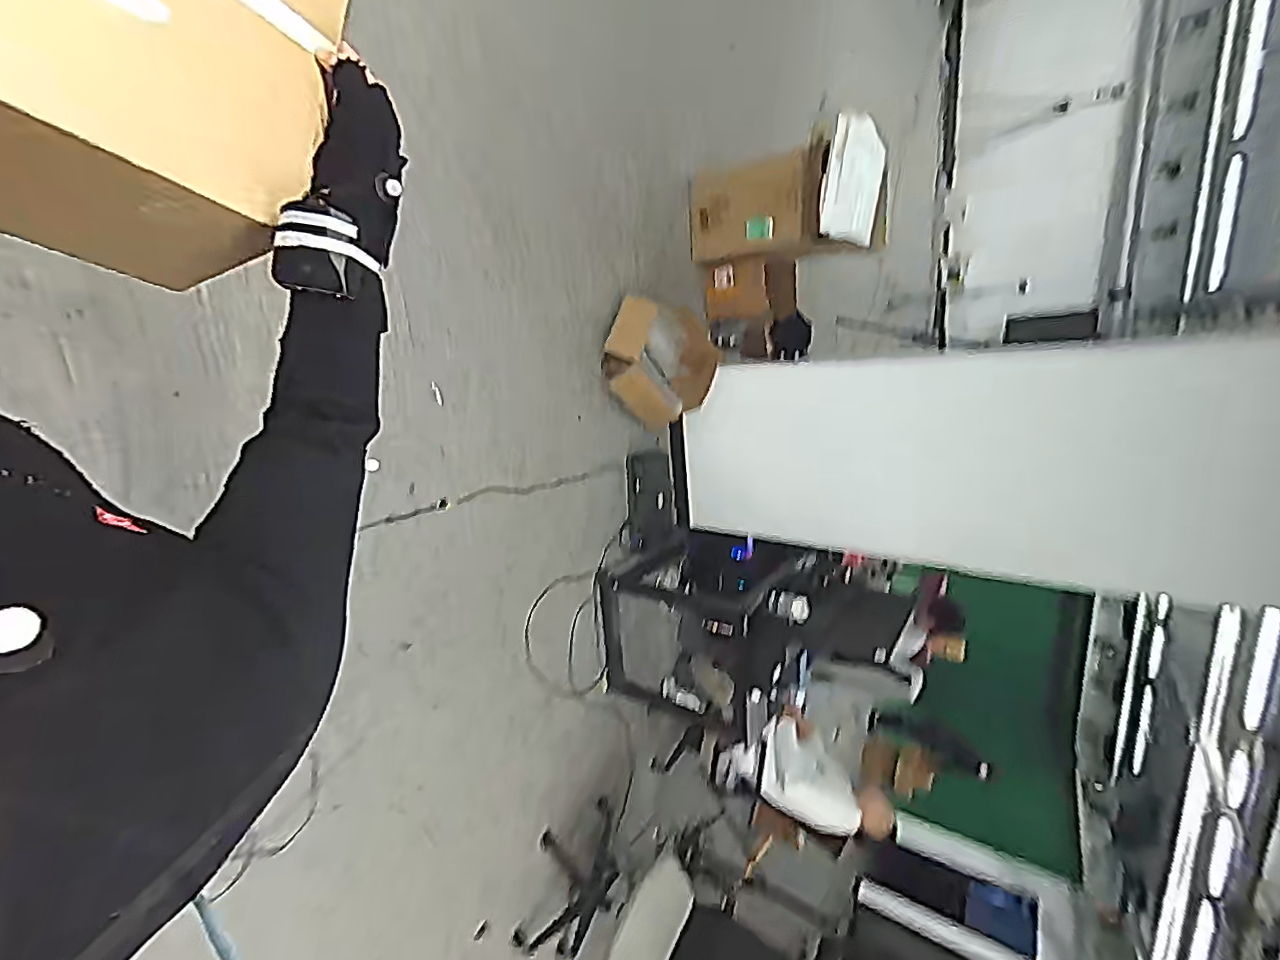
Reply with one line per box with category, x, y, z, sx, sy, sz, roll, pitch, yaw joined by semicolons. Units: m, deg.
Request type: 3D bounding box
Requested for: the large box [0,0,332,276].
large box;-0.508;-0.395;0.386;0.408;0.320;0.320;12;83;-55
